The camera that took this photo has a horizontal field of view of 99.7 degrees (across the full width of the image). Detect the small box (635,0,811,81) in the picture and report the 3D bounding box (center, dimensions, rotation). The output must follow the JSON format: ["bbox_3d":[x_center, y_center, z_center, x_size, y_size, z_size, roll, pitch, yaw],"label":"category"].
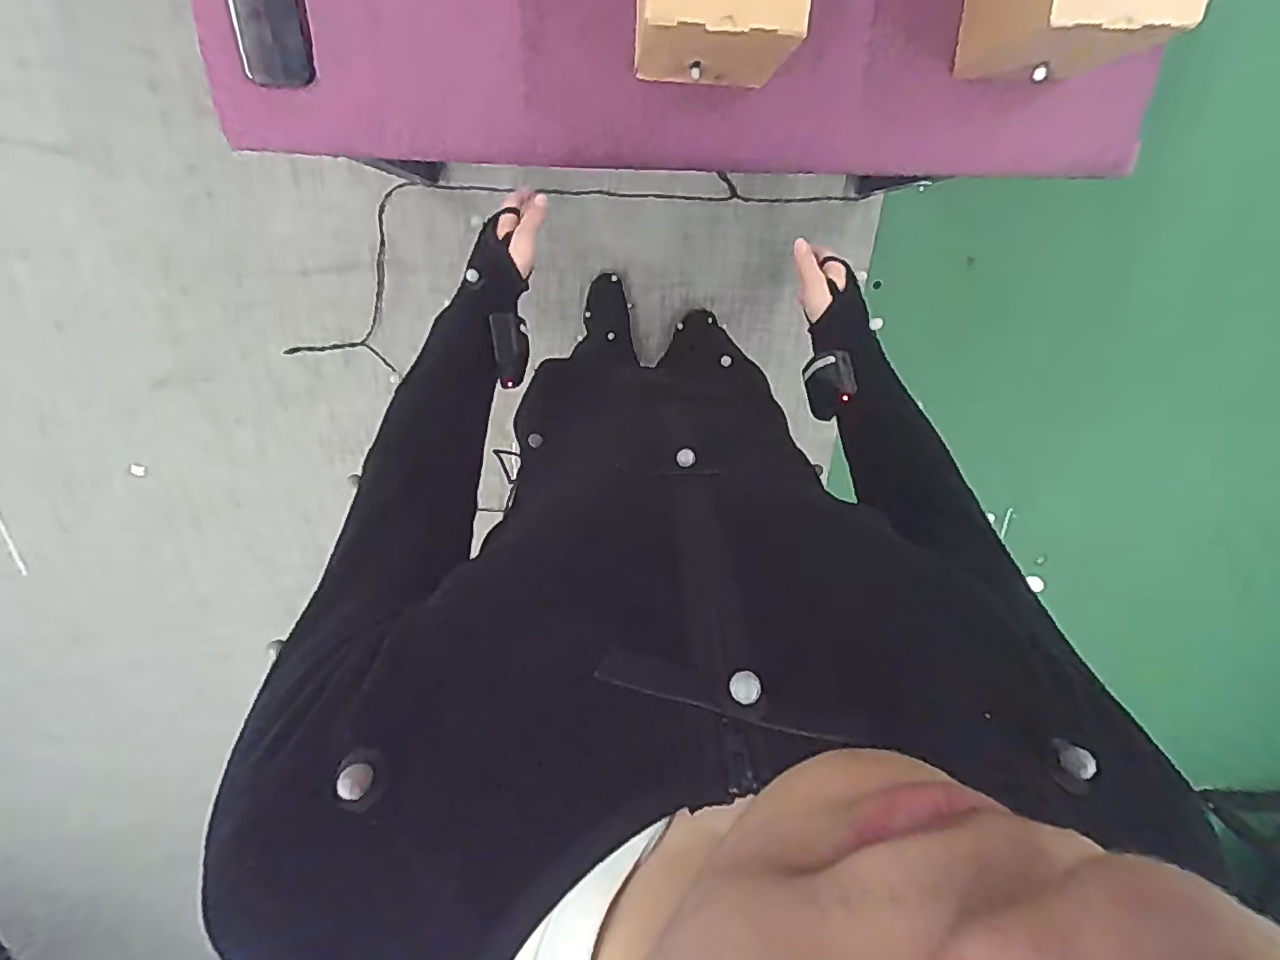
[{"bbox_3d":[0.083,-0.561,0.575,0.168,0.176,0.179,1,112,-5],"label":"small box"}]

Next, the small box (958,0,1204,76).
[{"bbox_3d":[0.488,-0.579,0.596,0.168,0.176,0.179,-1,112,-3],"label":"small box"}]
